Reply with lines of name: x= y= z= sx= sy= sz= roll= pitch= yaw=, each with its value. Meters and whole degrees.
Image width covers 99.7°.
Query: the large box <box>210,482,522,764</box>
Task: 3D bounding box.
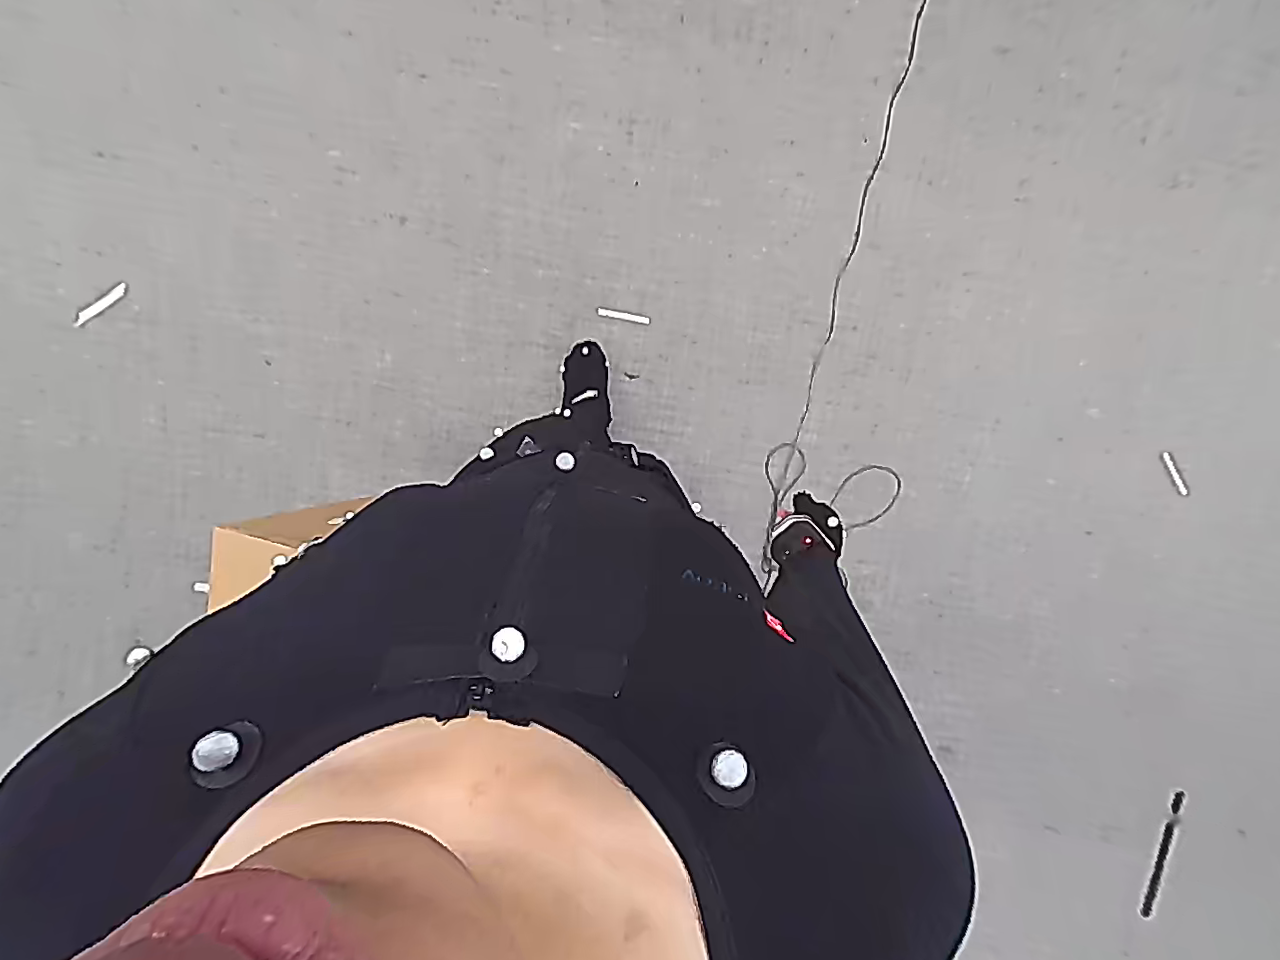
large box: x=-0.450 y=0.209 z=0.966 sx=0.320 sy=0.408 sz=0.320 roll=12 pitch=100 yaw=11
